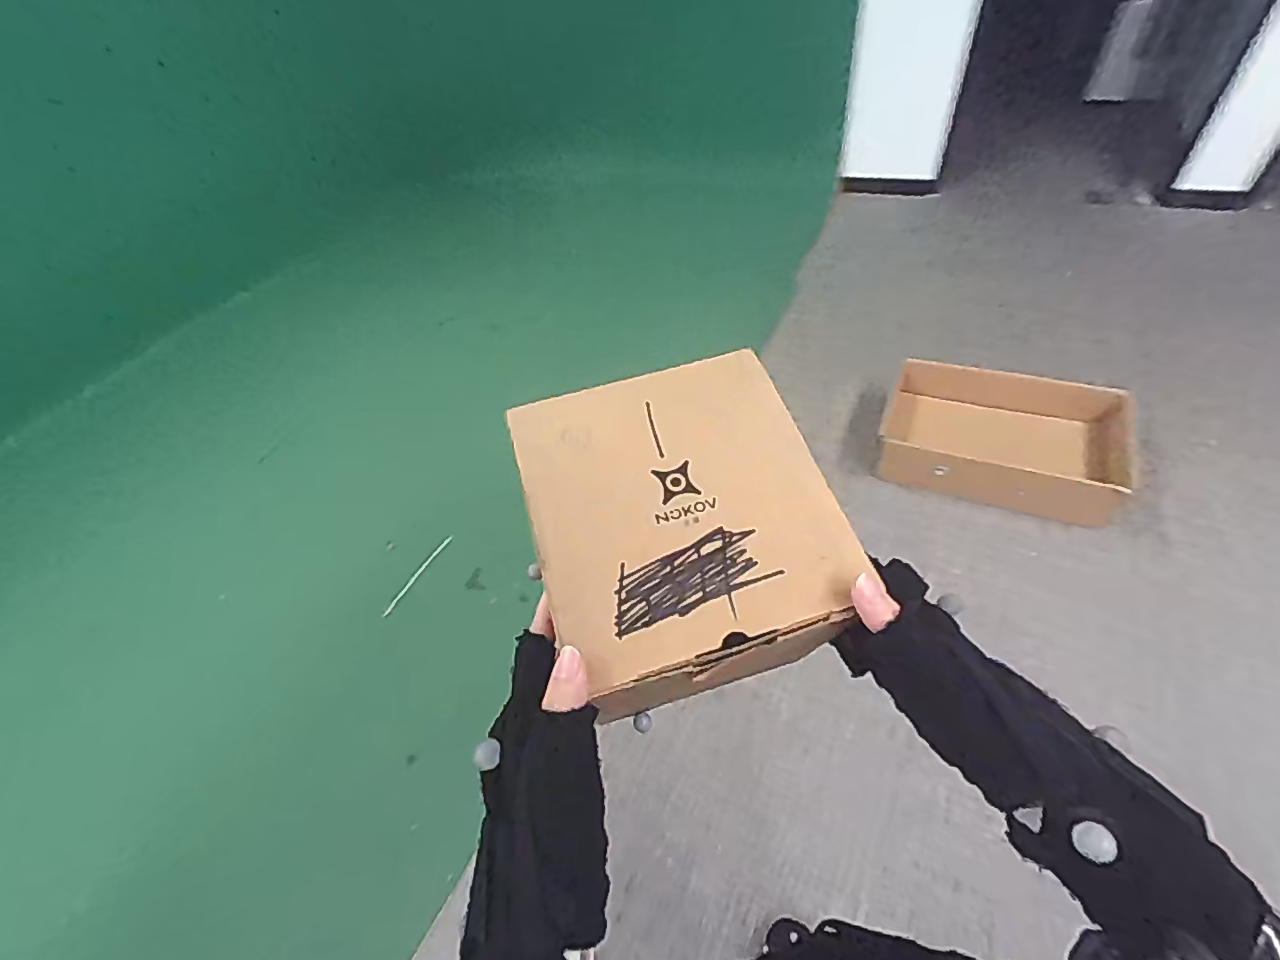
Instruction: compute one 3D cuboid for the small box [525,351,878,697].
[{"bbox_3d":[0.029,0.043,0.384,0.168,0.176,0.179,-14,63,-7],"label":"small box"}]
